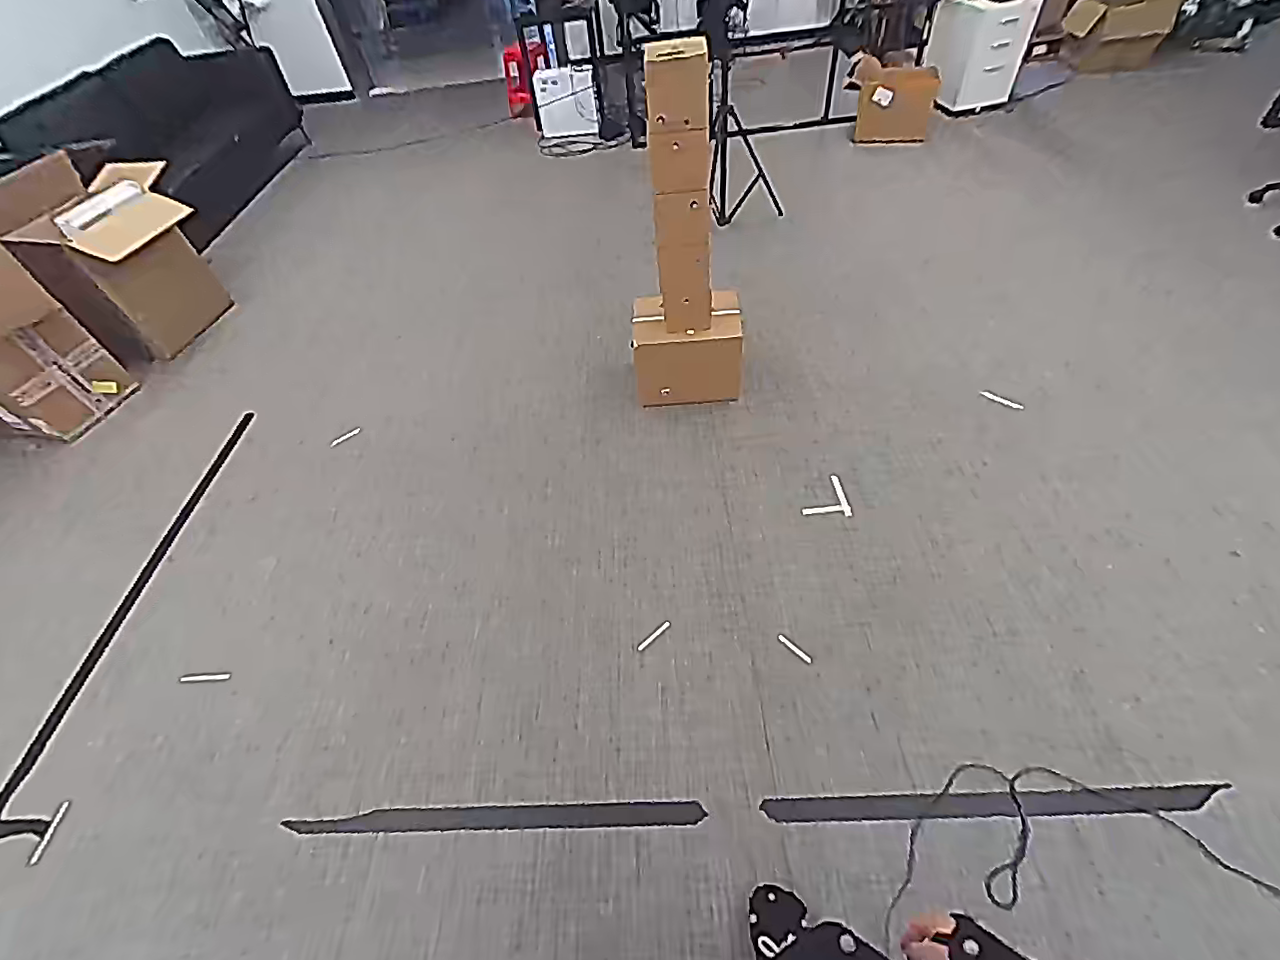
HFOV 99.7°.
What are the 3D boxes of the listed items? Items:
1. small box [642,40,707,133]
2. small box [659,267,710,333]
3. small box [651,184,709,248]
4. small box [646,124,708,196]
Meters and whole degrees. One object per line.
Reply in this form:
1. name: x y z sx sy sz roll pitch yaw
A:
1. small box: 0.098 -1.077 1.492 0.168 0.176 0.179 -2 50 6
2. small box: 0.165 -0.658 1.991 0.179 0.176 0.168 -5 51 3
3. small box: 0.129 -0.869 1.741 0.179 0.176 0.168 -2 50 6
4. small box: 0.113 -0.972 1.618 0.179 0.176 0.168 -2 51 6
